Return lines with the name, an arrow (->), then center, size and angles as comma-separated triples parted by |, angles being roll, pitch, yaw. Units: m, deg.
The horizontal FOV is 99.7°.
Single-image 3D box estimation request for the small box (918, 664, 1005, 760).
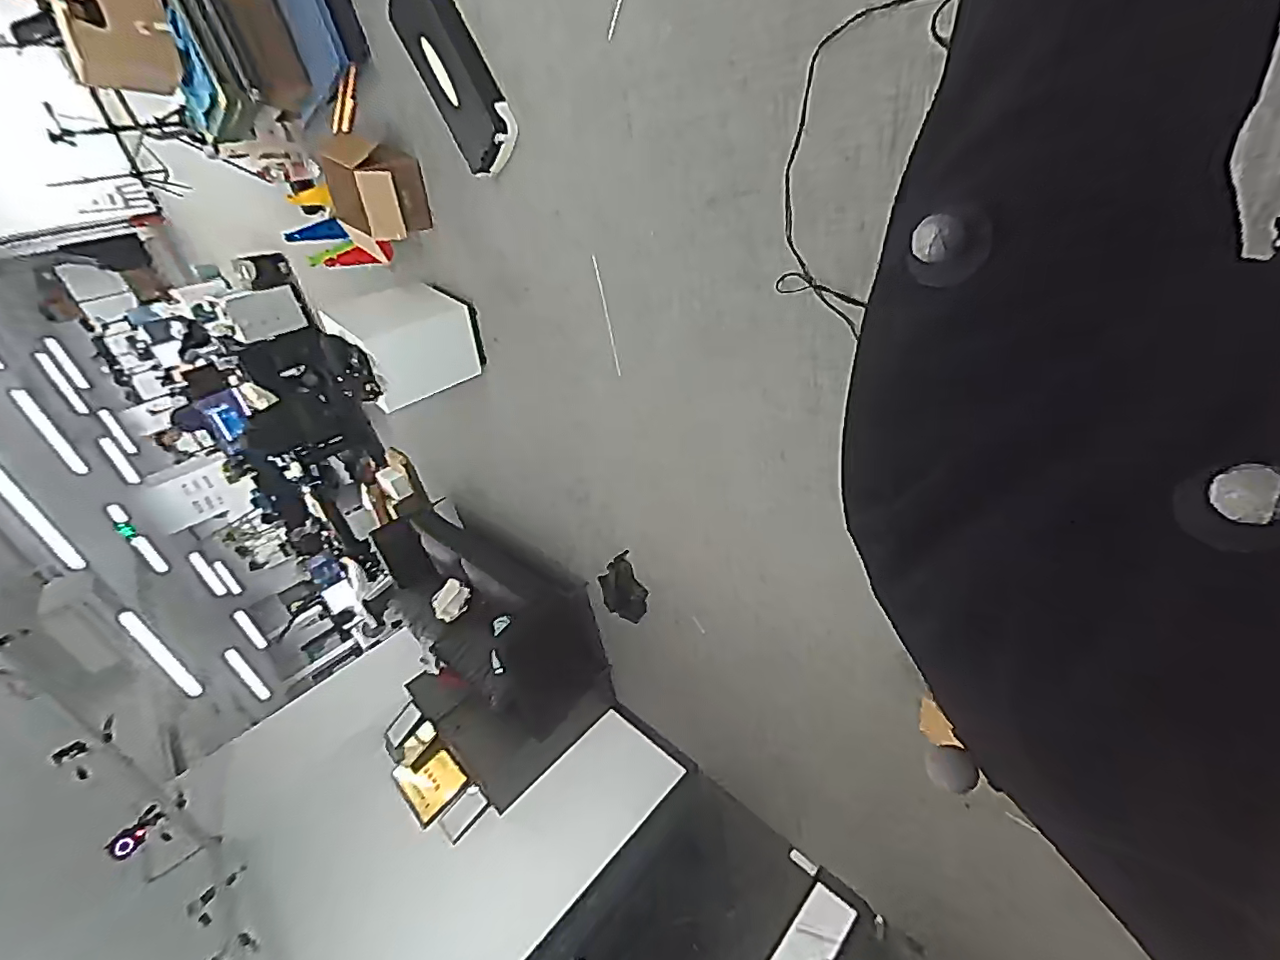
small box -> 0.974, 0.693, 1.639 | 0.179, 0.176, 0.168 | 21, 134, 44
